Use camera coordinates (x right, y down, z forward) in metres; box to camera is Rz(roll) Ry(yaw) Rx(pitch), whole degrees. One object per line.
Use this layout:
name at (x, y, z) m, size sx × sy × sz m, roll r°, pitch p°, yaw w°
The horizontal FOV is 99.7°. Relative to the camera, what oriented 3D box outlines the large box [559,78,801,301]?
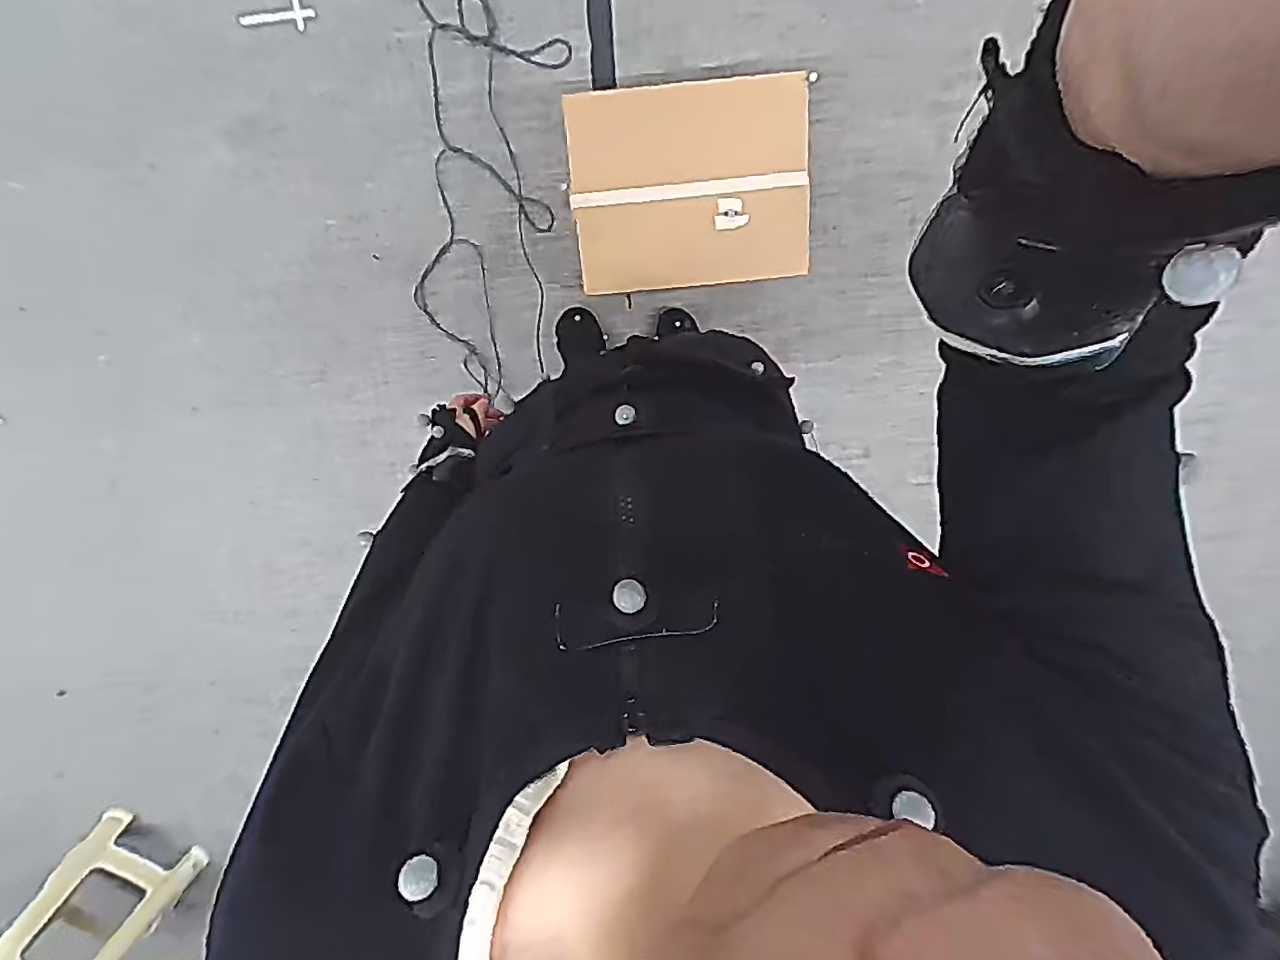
large box at (0.073, -0.538, 1.073) m, size 0.408 × 0.320 × 0.320 m, roll -5°, pitch 109°, yaw 0°
